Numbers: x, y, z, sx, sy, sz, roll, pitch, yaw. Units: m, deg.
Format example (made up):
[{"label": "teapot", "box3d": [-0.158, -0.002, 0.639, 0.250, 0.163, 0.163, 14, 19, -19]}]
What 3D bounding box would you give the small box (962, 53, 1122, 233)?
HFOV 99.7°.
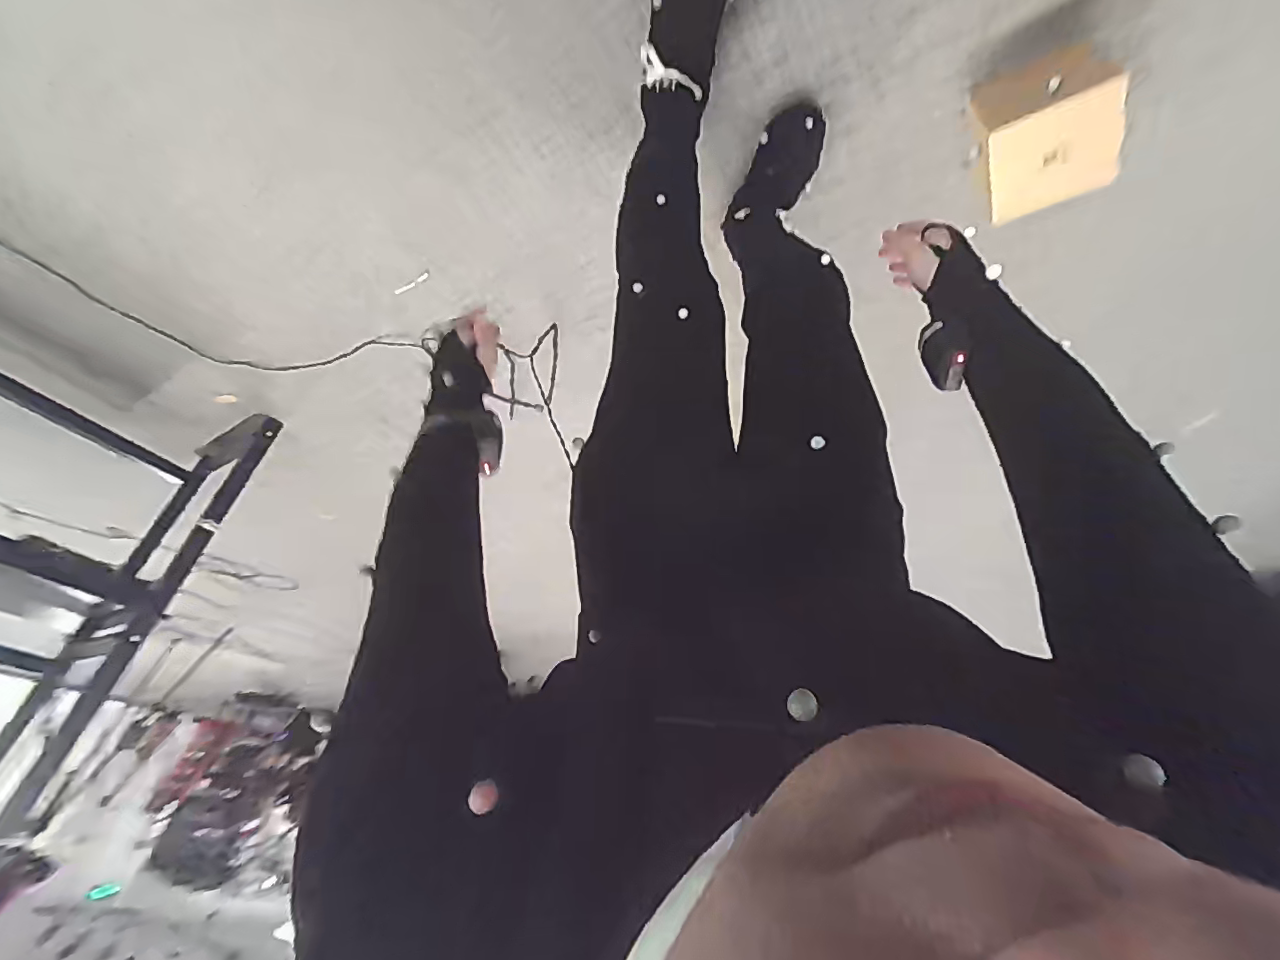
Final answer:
[{"label": "small box", "box3d": [0.650, -0.556, 0.899, 0.179, 0.176, 0.168, -12, 140, 26]}]
